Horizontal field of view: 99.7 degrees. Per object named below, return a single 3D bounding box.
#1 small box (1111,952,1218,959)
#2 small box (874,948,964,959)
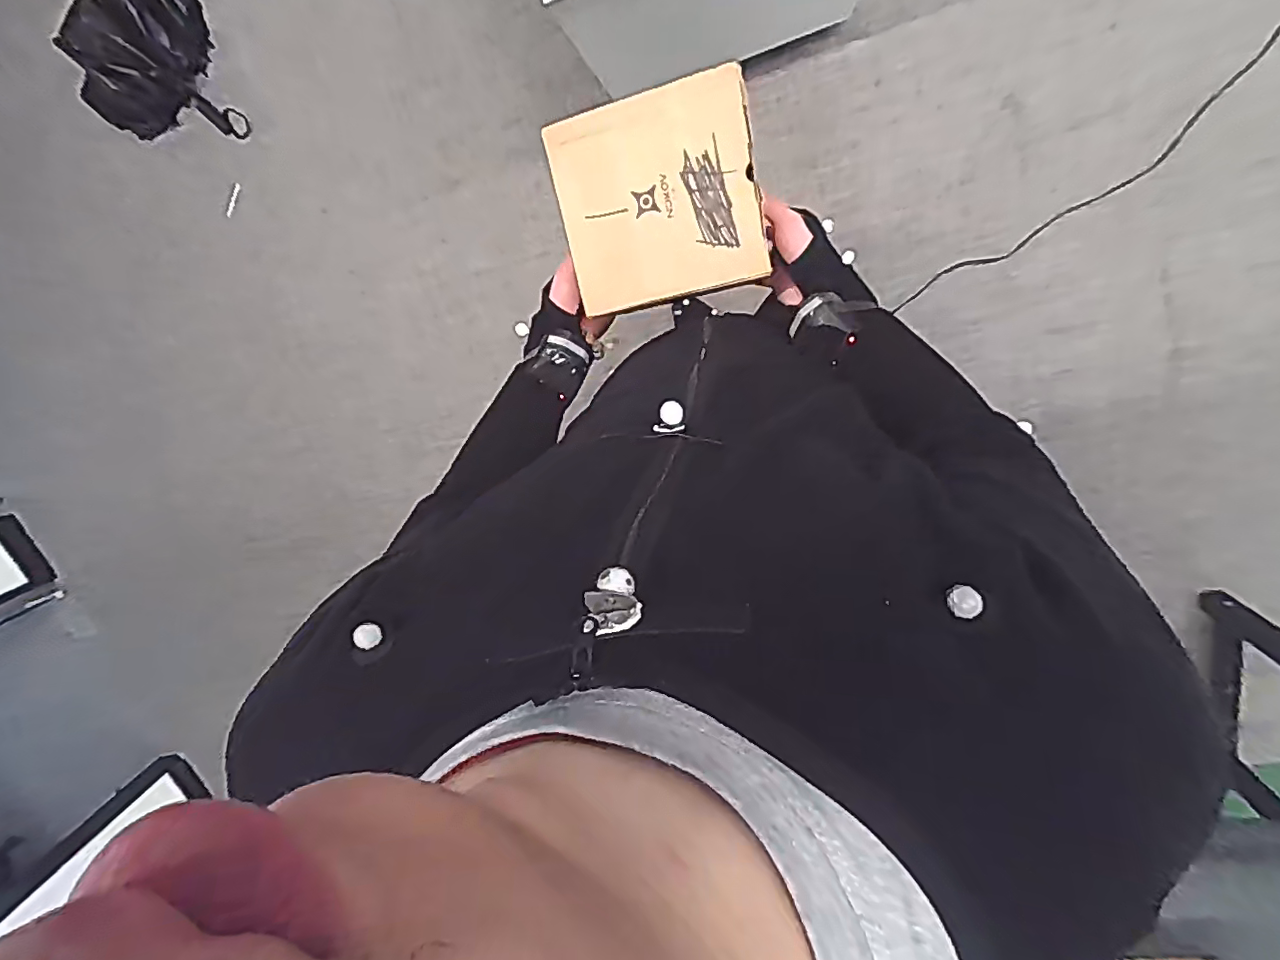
[{"bbox_3d":[0.994,0.991,0.967,0.179,0.176,0.168,-12,108,16],"label":"small box"},{"bbox_3d":[0.576,1.071,1.067,0.179,0.176,0.168,-7,109,11],"label":"small box"}]
